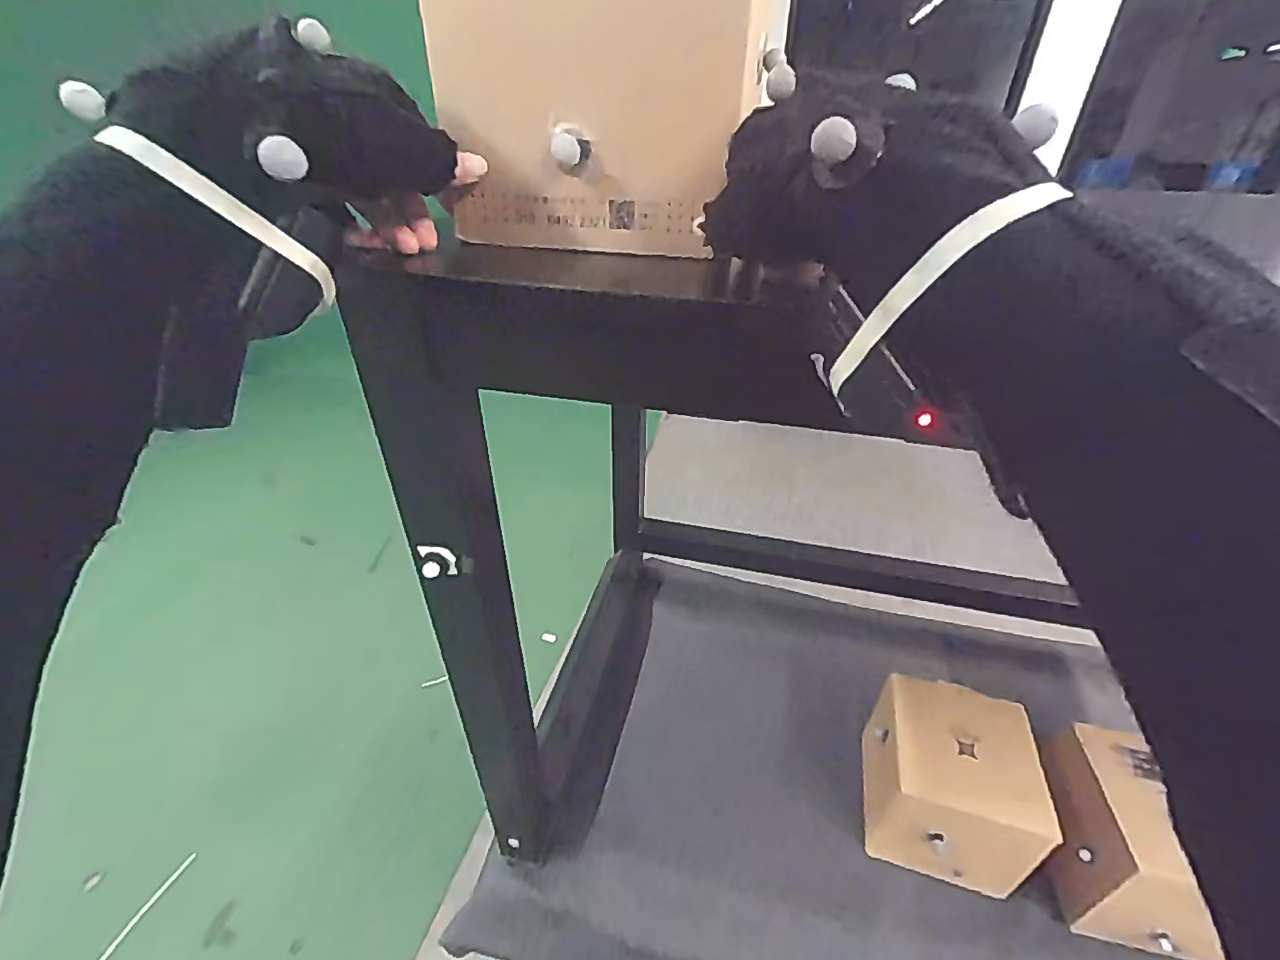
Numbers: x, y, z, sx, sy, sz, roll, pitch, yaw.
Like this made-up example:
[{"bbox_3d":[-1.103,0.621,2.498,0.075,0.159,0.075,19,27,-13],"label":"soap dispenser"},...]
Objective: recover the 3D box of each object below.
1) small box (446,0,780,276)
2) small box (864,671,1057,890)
[{"bbox_3d":[-0.007,-0.239,0.339,0.168,0.176,0.179,7,35,10],"label":"small box"},{"bbox_3d":[0.403,0.395,0.717,0.168,0.176,0.179,11,35,14],"label":"small box"}]
